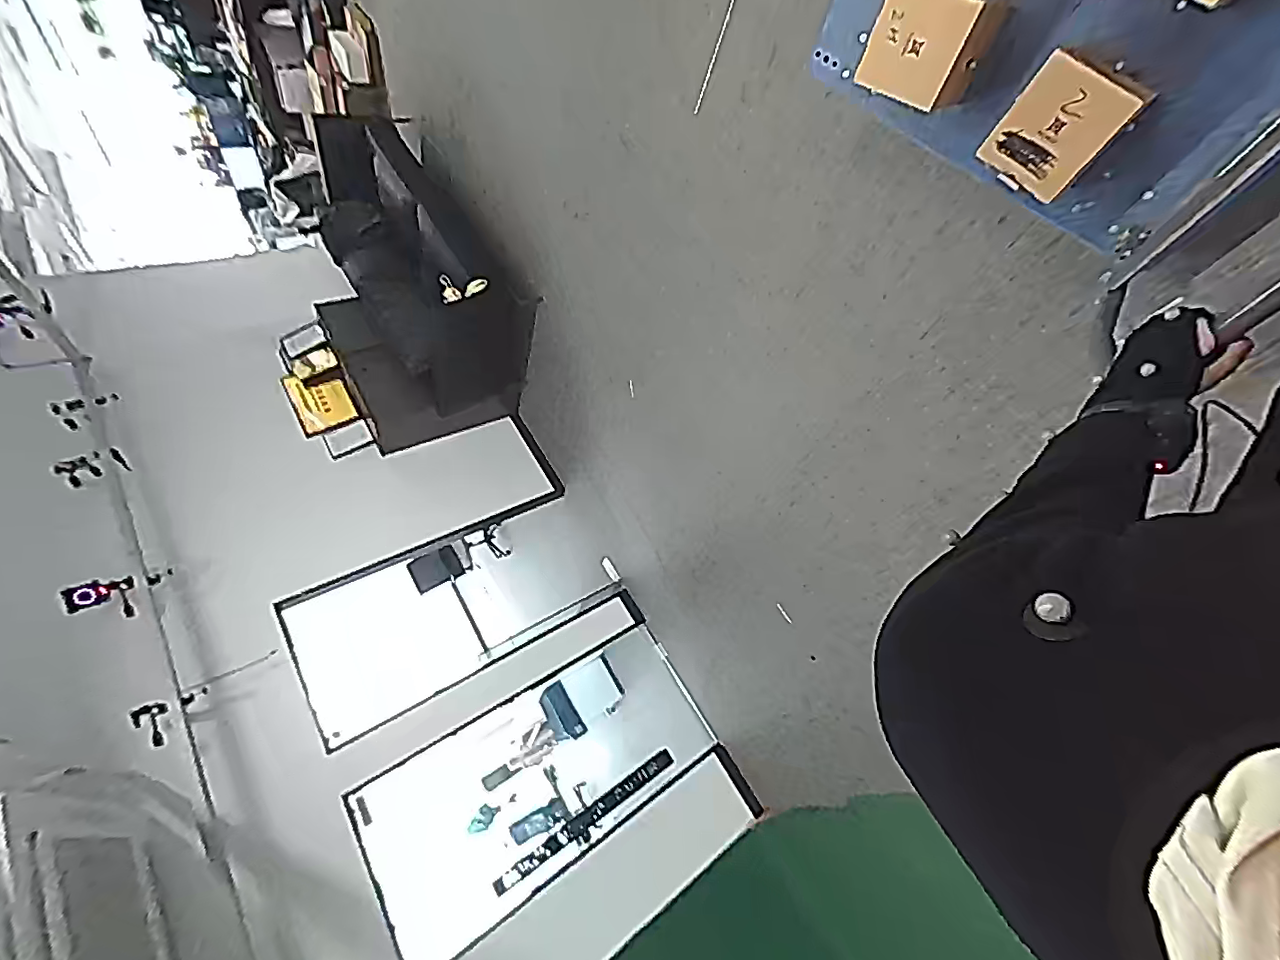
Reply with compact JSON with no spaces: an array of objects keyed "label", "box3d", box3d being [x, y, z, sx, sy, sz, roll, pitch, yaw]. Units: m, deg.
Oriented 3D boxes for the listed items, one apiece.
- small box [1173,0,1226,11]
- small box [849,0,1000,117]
[{"label":"small box","box3d":[0.820,-0.804,0.773,0.179,0.176,0.168,42,144,14]},{"label":"small box","box3d":[0.552,-0.838,1.050,0.179,0.176,0.168,40,142,19]}]
